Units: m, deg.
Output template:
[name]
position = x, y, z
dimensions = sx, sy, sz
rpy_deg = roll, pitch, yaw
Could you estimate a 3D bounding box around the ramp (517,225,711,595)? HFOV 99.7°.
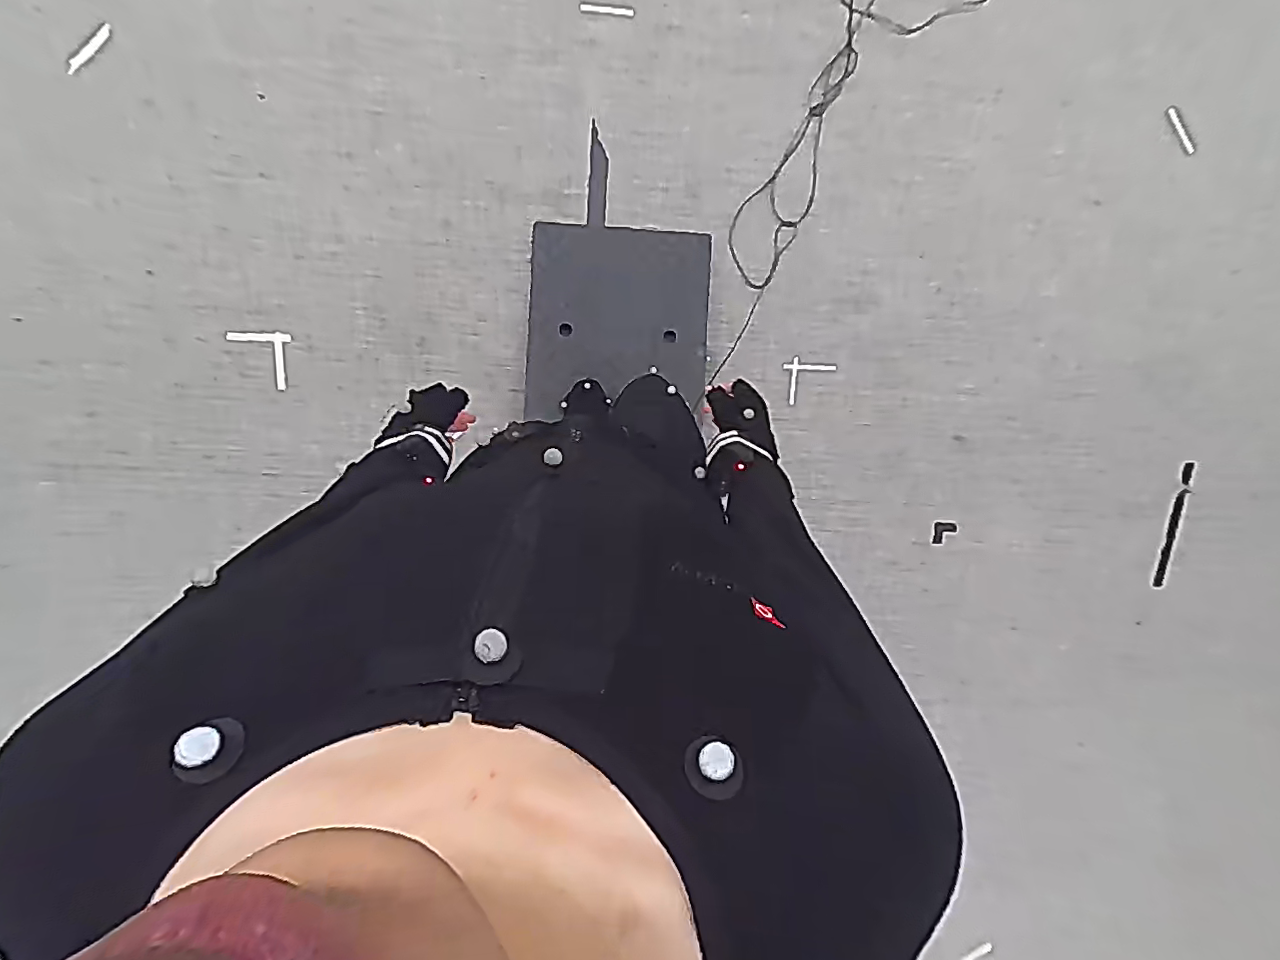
[ramp]
position = -0.070, -0.193, 1.482
dimensions = 0.509, 0.206, 0.991
rpy_deg = 1, 99, -1
